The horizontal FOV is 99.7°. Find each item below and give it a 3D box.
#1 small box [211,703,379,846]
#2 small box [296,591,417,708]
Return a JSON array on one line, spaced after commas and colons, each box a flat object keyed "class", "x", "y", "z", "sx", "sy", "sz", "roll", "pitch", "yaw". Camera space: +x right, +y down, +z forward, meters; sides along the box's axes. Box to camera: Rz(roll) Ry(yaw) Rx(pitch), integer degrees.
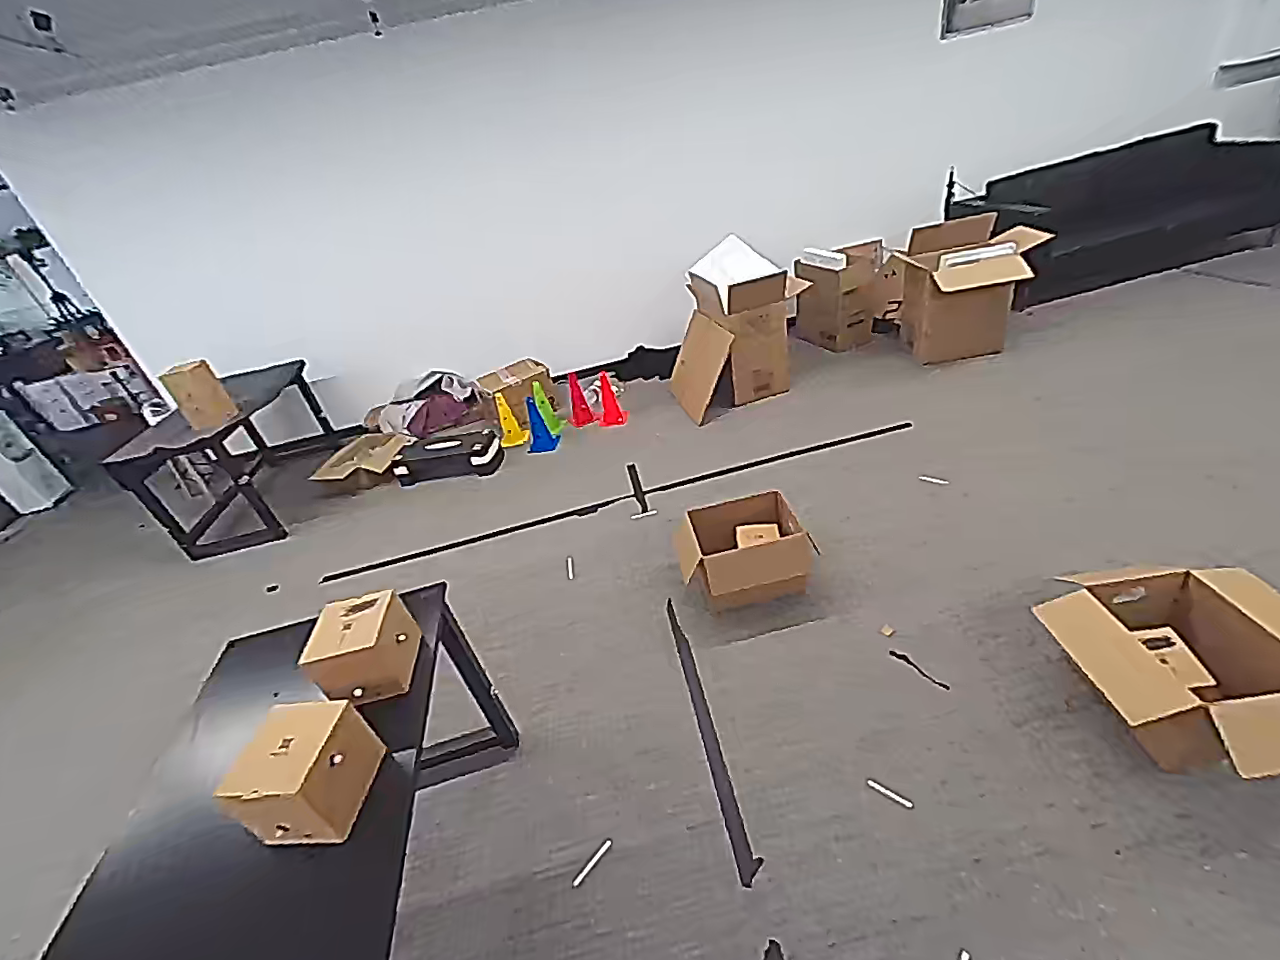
[{"class": "small box", "x": -0.618, "y": 0.544, "z": 1.000, "sx": 0.168, "sy": 0.176, "sz": 0.179, "roll": -9, "pitch": 34, "yaw": 9}, {"class": "small box", "x": -0.631, "y": 0.389, "z": 1.234, "sx": 0.168, "sy": 0.176, "sz": 0.179, "roll": -15, "pitch": 34, "yaw": -1}]
